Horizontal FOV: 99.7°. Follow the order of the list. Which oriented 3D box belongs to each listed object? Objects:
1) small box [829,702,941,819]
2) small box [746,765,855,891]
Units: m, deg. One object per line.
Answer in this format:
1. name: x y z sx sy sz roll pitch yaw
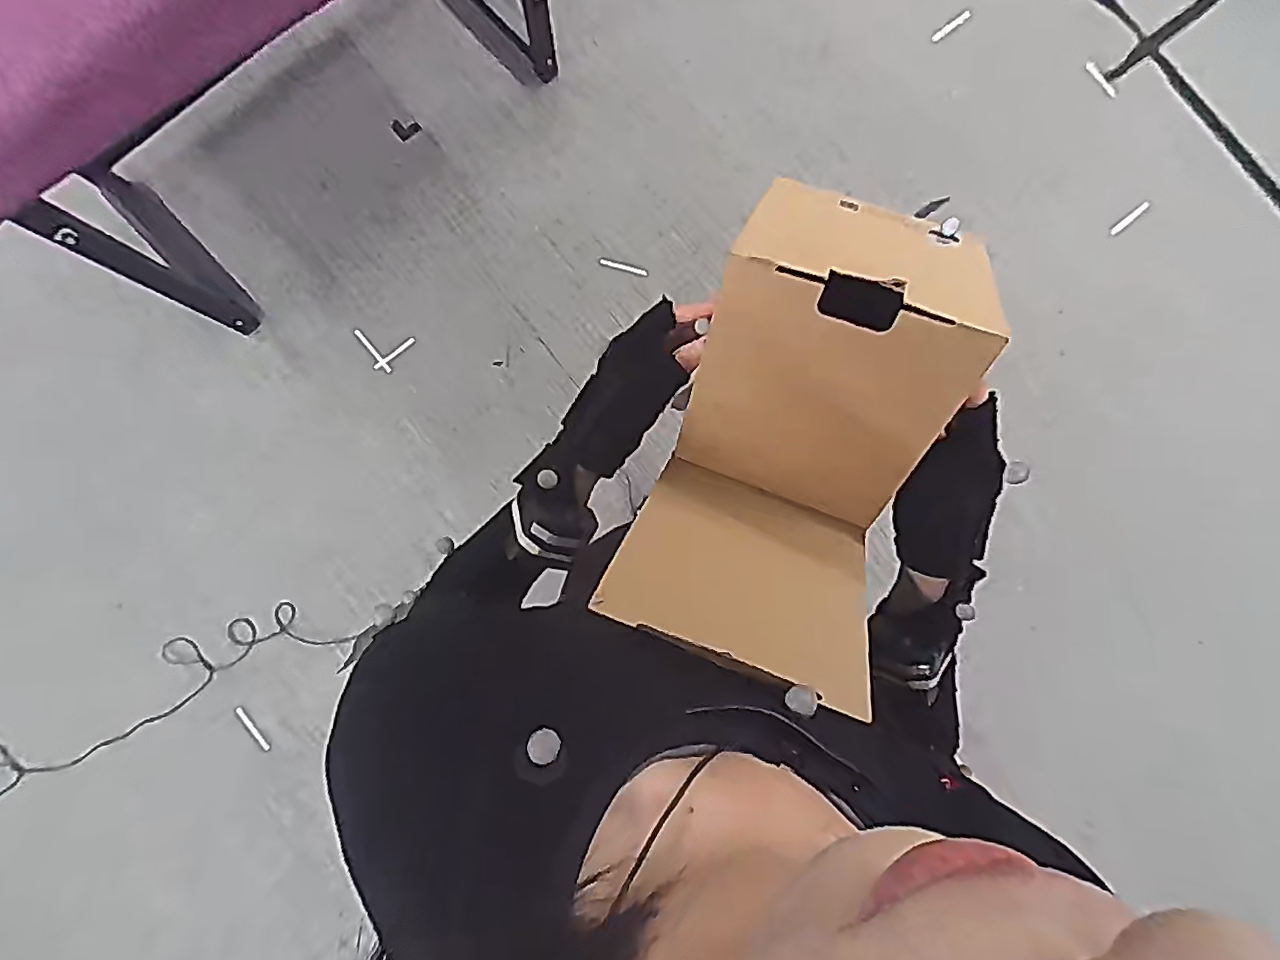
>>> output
1. small box: 0.612 0.708 1.384 0.179 0.176 0.168 -36 88 -4
2. small box: 0.396 0.866 1.368 0.179 0.176 0.168 -37 87 -7
